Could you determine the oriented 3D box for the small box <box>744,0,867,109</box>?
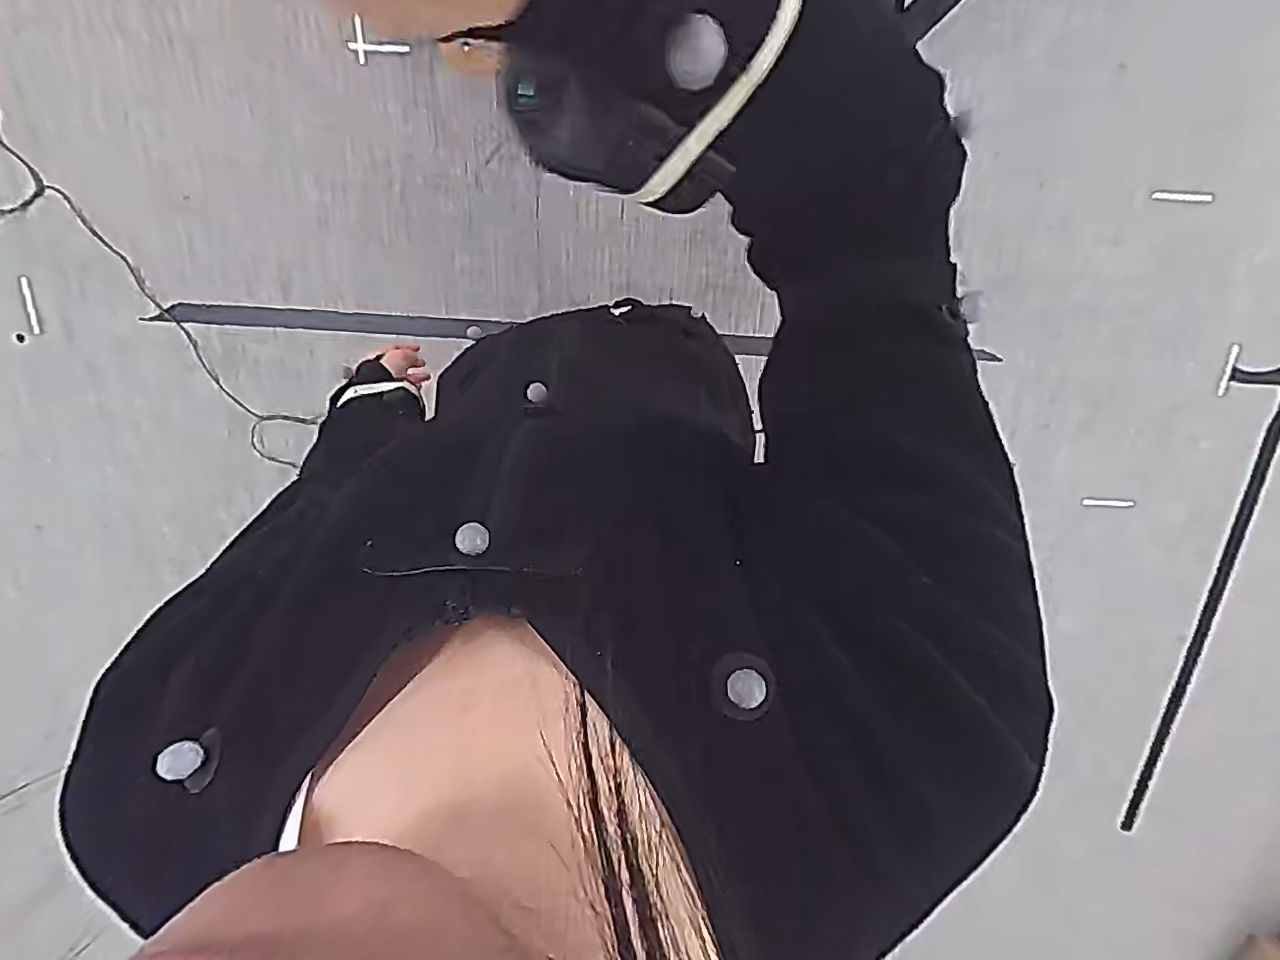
[{"bbox_3d":[0.344,-0.935,1.161,0.179,0.176,0.168,19,106,-5],"label":"small box"}]

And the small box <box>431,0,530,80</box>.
[{"bbox_3d":[-0.327,-0.981,1.129,0.168,0.176,0.179,4,105,-3],"label":"small box"}]
